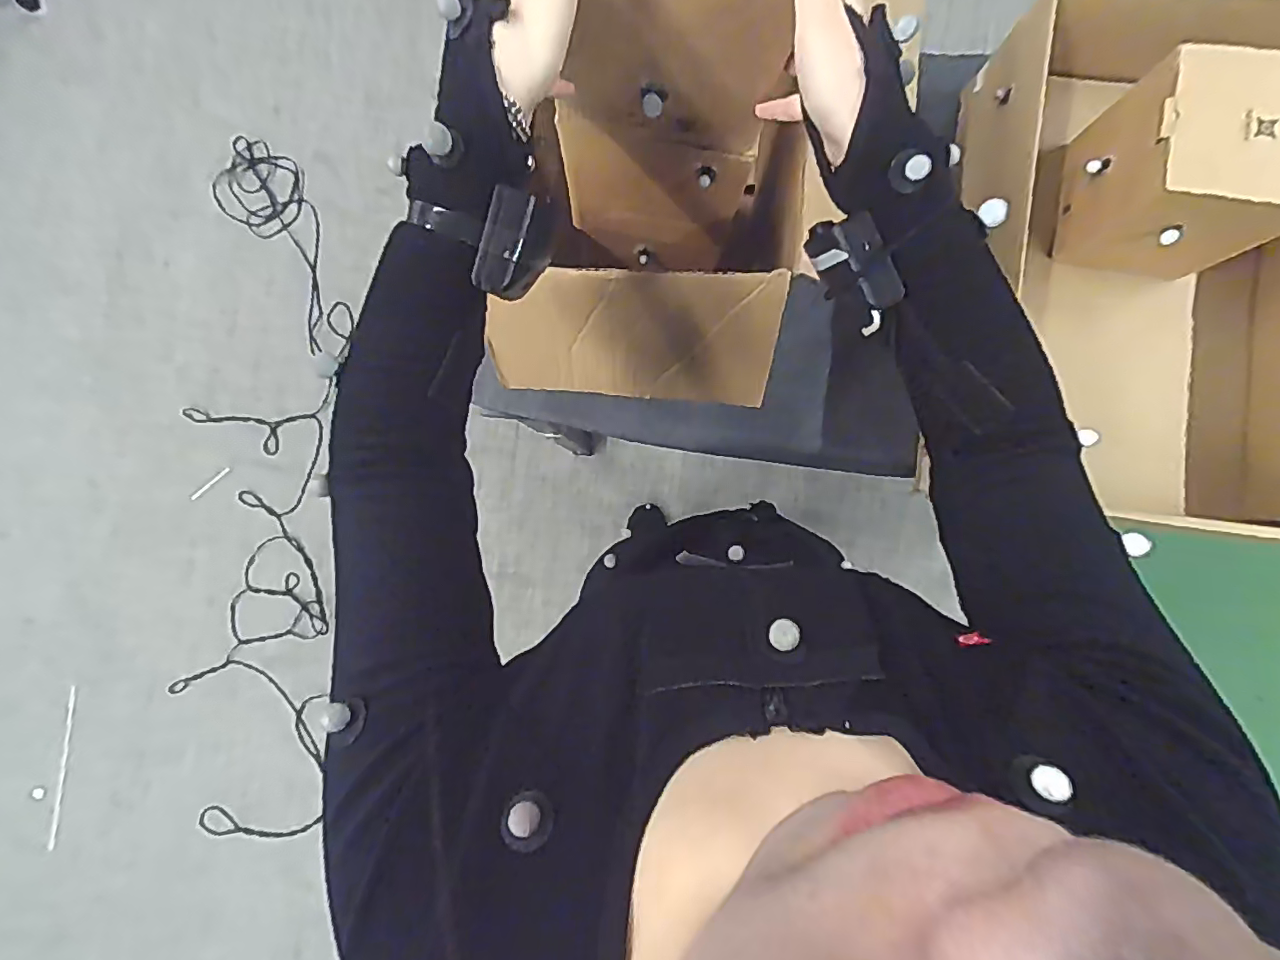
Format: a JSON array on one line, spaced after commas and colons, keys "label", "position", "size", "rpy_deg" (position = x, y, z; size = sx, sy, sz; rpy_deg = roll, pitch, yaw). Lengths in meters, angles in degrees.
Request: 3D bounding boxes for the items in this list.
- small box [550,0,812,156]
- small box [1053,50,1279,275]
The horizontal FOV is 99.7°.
[{"label": "small box", "position": [0.026, -0.373, 0.381], "size": [0.168, 0.176, 0.179], "rpy_deg": [5, 86, -2]}, {"label": "small box", "position": [0.645, -0.365, 0.650], "size": [0.179, 0.176, 0.168], "rpy_deg": [9, 88, 5]}]
